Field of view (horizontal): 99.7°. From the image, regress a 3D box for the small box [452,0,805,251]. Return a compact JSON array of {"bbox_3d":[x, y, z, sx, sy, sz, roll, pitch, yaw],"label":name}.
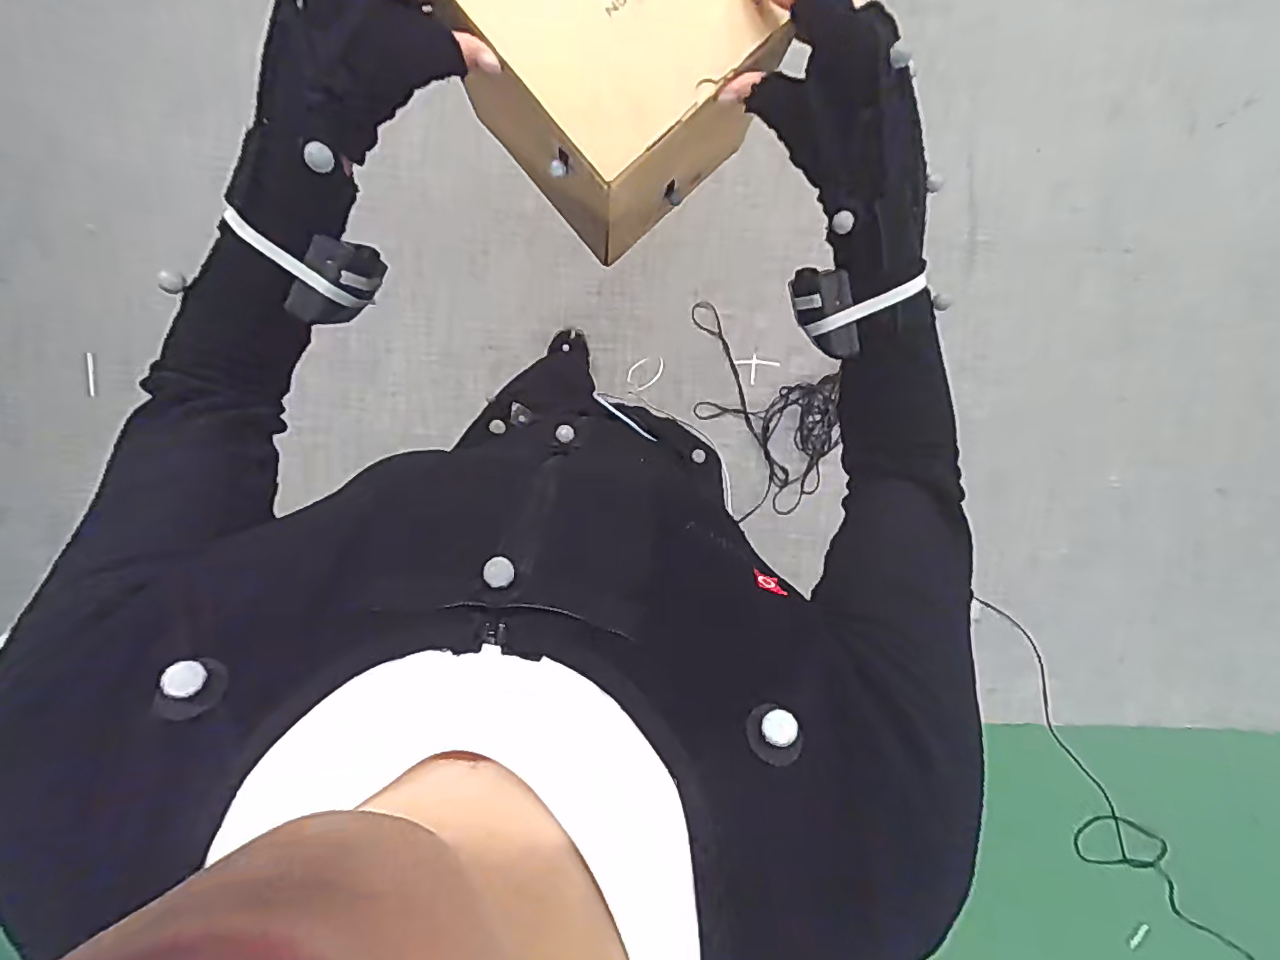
[{"bbox_3d":[-0.019,-0.310,0.406,0.168,0.176,0.179,-41,98,0],"label":"small box"}]
